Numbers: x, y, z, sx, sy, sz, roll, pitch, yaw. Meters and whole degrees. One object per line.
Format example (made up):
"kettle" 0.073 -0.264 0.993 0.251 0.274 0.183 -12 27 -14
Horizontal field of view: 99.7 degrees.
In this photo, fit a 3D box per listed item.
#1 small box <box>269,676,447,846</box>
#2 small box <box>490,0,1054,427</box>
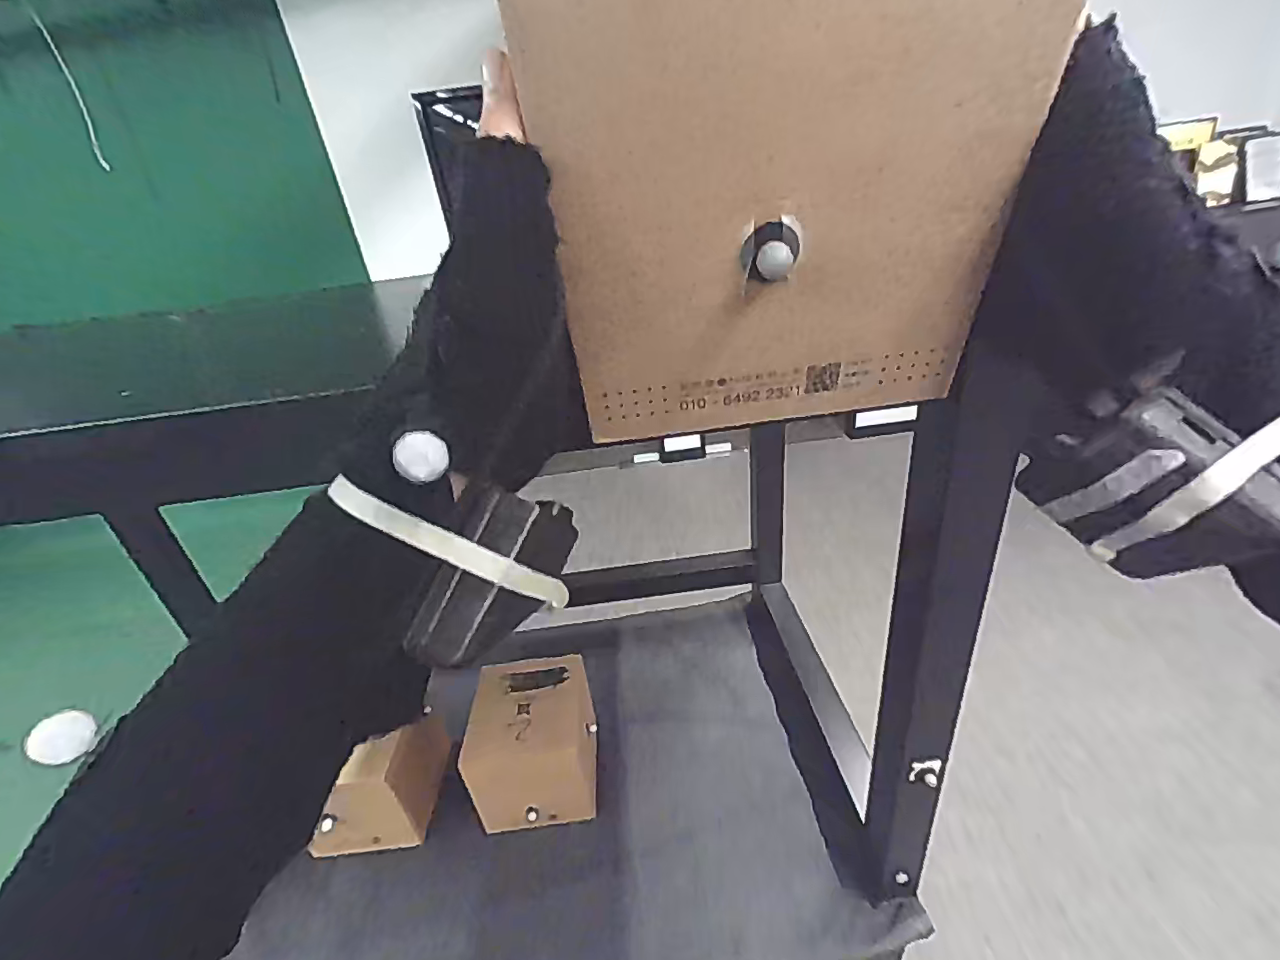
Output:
"small box" -0.420 0.439 0.843 0.168 0.176 0.179 -7 28 1
"small box" 0.042 -0.138 0.255 0.168 0.176 0.179 -7 44 0
